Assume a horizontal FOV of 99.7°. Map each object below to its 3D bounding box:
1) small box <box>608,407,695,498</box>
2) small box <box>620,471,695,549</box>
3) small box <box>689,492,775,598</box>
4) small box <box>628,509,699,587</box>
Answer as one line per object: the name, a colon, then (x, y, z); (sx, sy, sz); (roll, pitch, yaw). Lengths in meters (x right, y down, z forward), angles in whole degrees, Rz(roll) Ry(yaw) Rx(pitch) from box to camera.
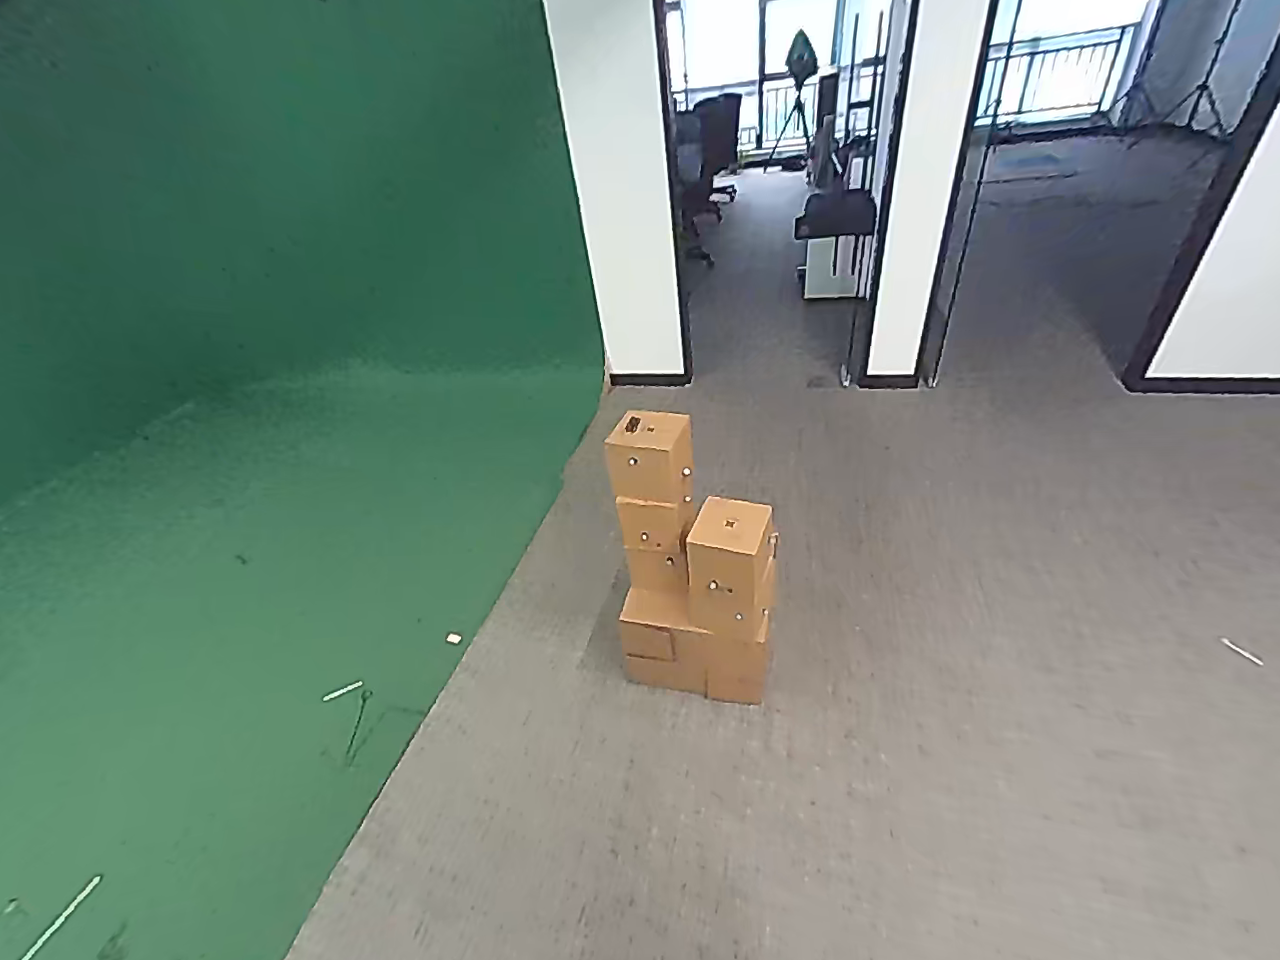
small box: (0.036, -0.071, 1.405); (0.179, 0.176, 0.168); (8, 40, 21)
small box: (0.054, 0.065, 1.496); (0.168, 0.176, 0.179); (4, 39, 17)
small box: (0.229, 0.159, 1.333); (0.168, 0.176, 0.179); (10, 41, 23)
small box: (0.078, 0.195, 1.592); (0.179, 0.176, 0.168); (3, 37, 16)
